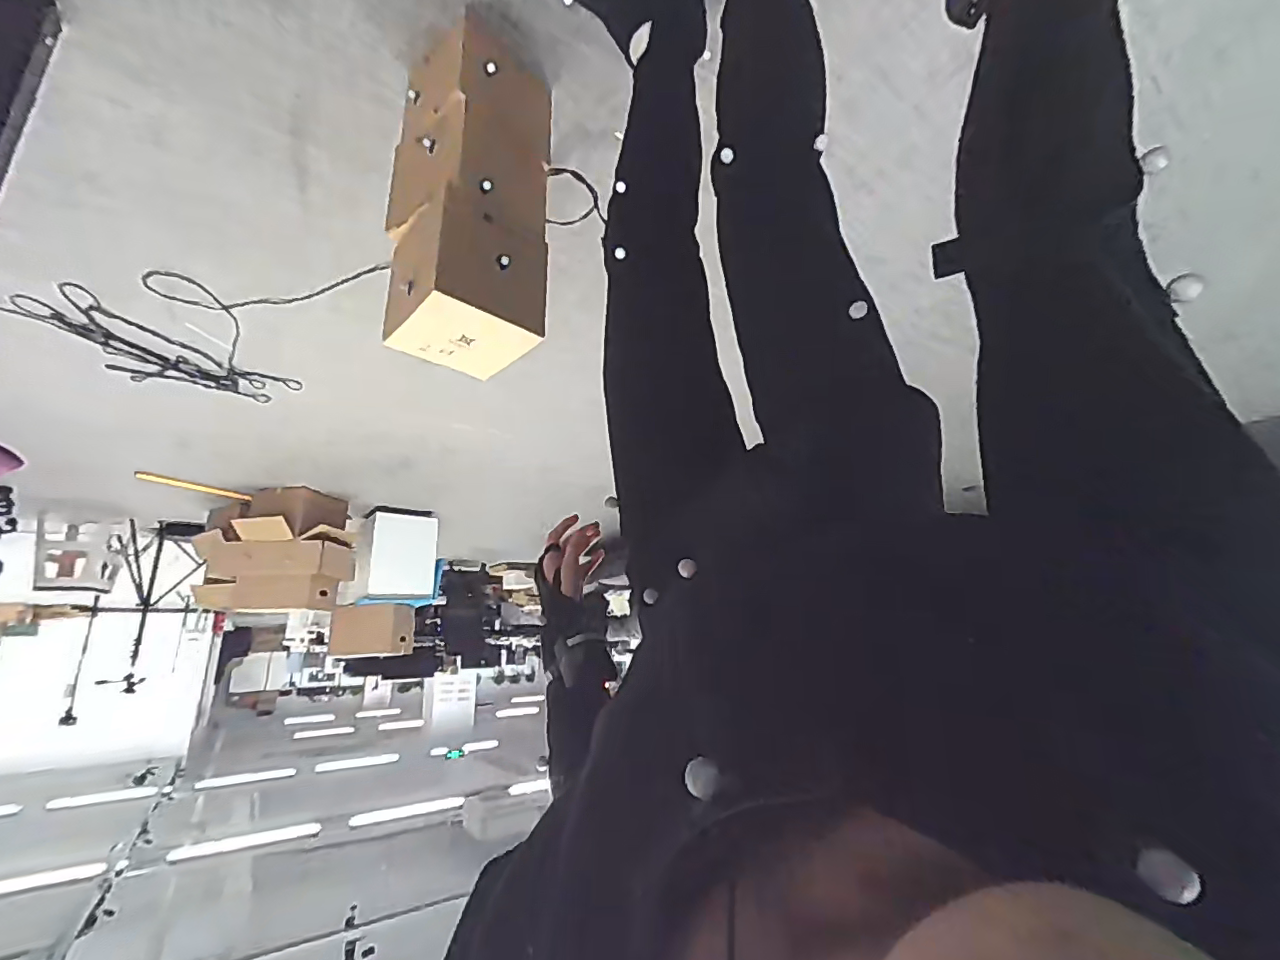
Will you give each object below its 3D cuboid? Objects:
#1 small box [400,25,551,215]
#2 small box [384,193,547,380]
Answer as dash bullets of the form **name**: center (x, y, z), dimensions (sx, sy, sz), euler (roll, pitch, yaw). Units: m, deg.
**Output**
- **small box**: center (-0.264, -0.587, 0.887), dimensions (0.168, 0.176, 0.179), euler (-14, 160, 36)
- **small box**: center (-0.252, -0.275, 0.792), dimensions (0.168, 0.176, 0.179), euler (16, 156, -43)
